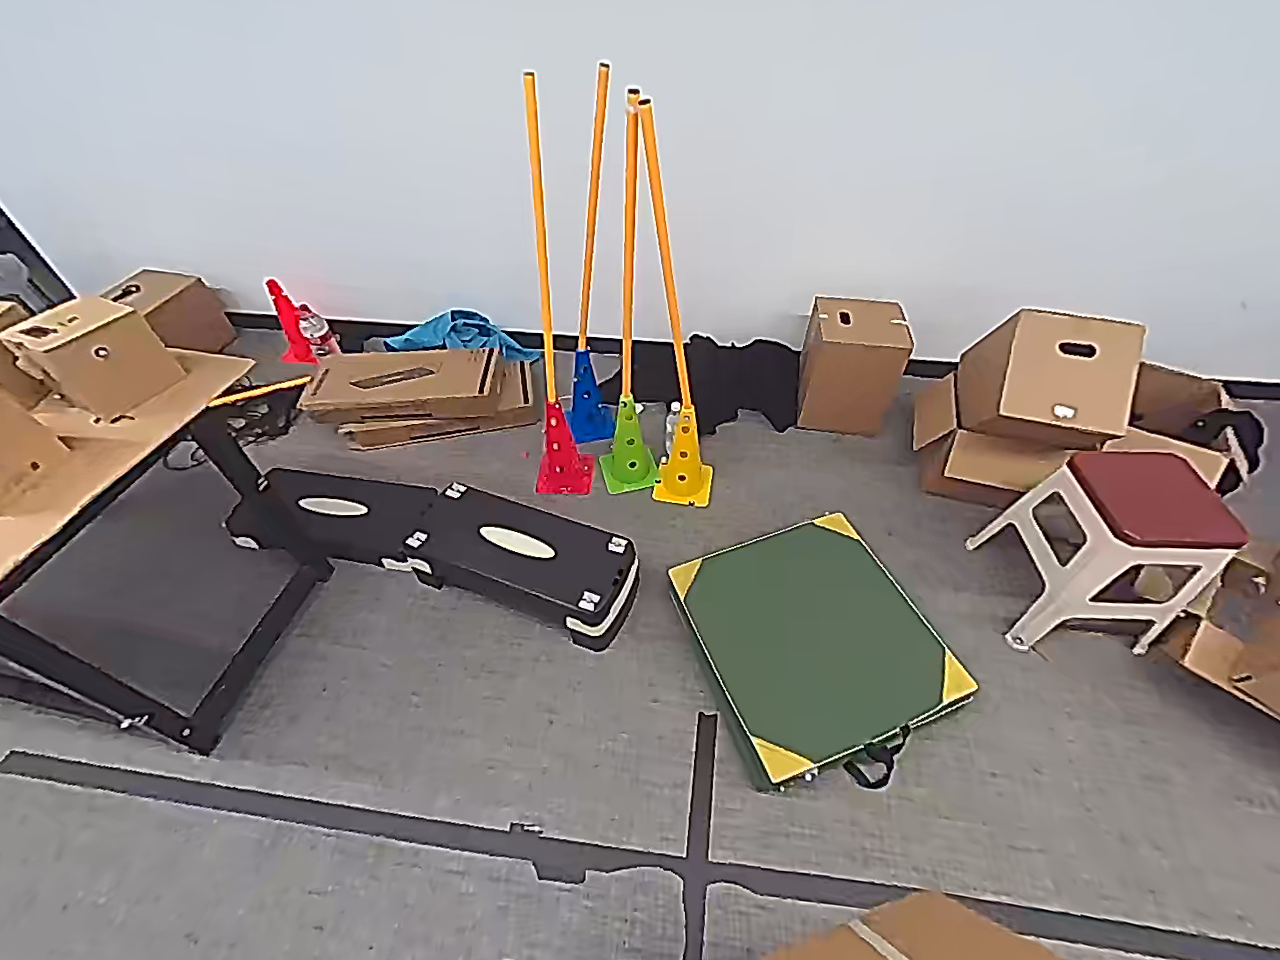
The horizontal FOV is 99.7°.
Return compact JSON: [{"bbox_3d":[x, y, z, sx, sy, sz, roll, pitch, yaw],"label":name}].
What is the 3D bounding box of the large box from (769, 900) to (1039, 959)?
[{"bbox_3d":[0.393,0.772,0.612,0.320,0.408,0.320,-9,72,-13],"label":"large box"}]
